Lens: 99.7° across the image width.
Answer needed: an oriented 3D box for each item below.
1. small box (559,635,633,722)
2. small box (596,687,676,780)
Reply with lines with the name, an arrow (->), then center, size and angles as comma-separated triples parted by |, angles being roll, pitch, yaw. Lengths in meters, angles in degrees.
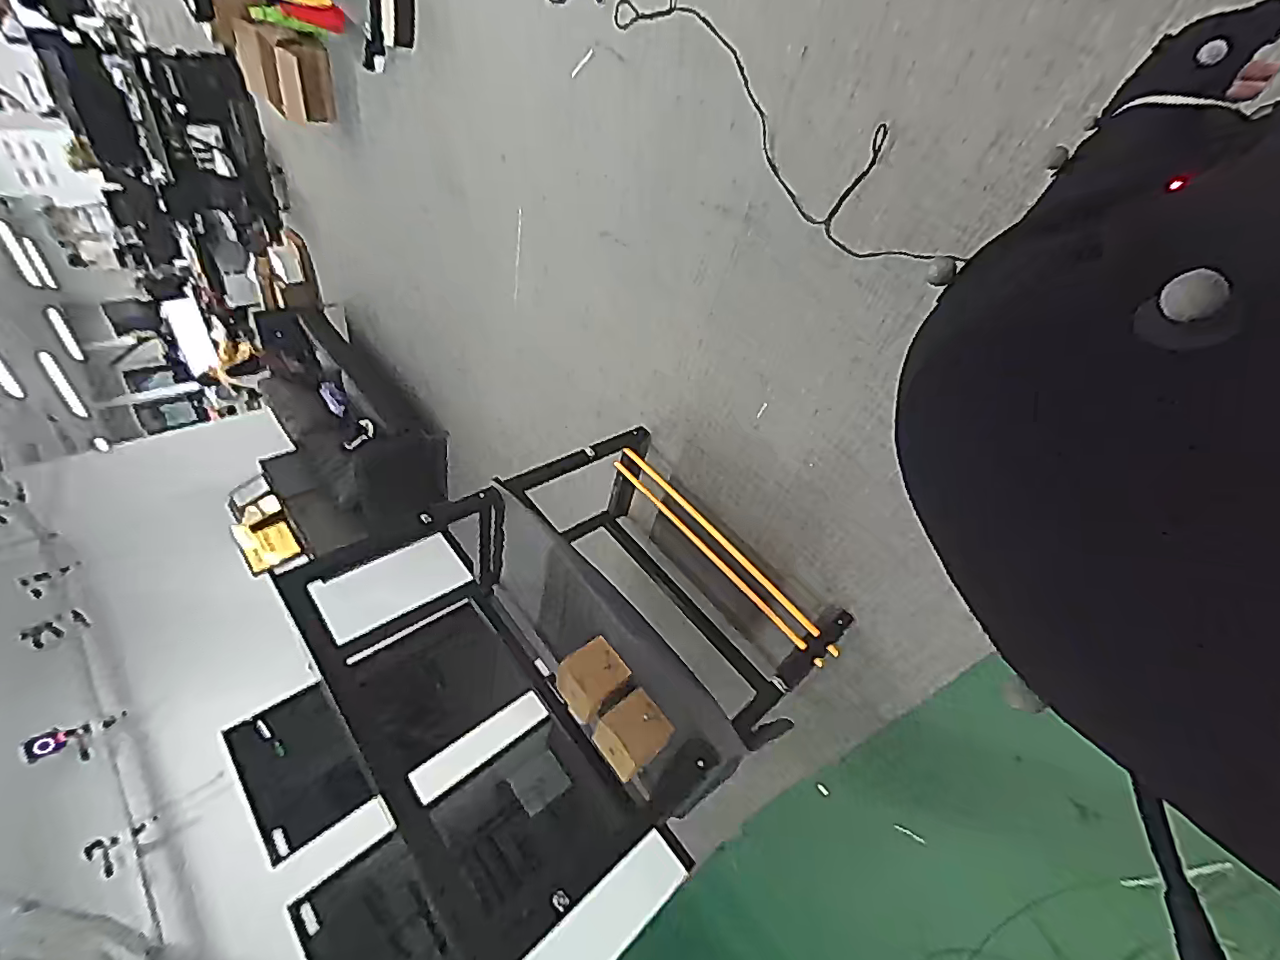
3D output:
small box -> -0.142, 0.644, 1.760 | 0.168, 0.176, 0.179 | 44, 140, 25
small box -> -0.012, 0.780, 1.674 | 0.168, 0.176, 0.179 | 44, 140, 26
